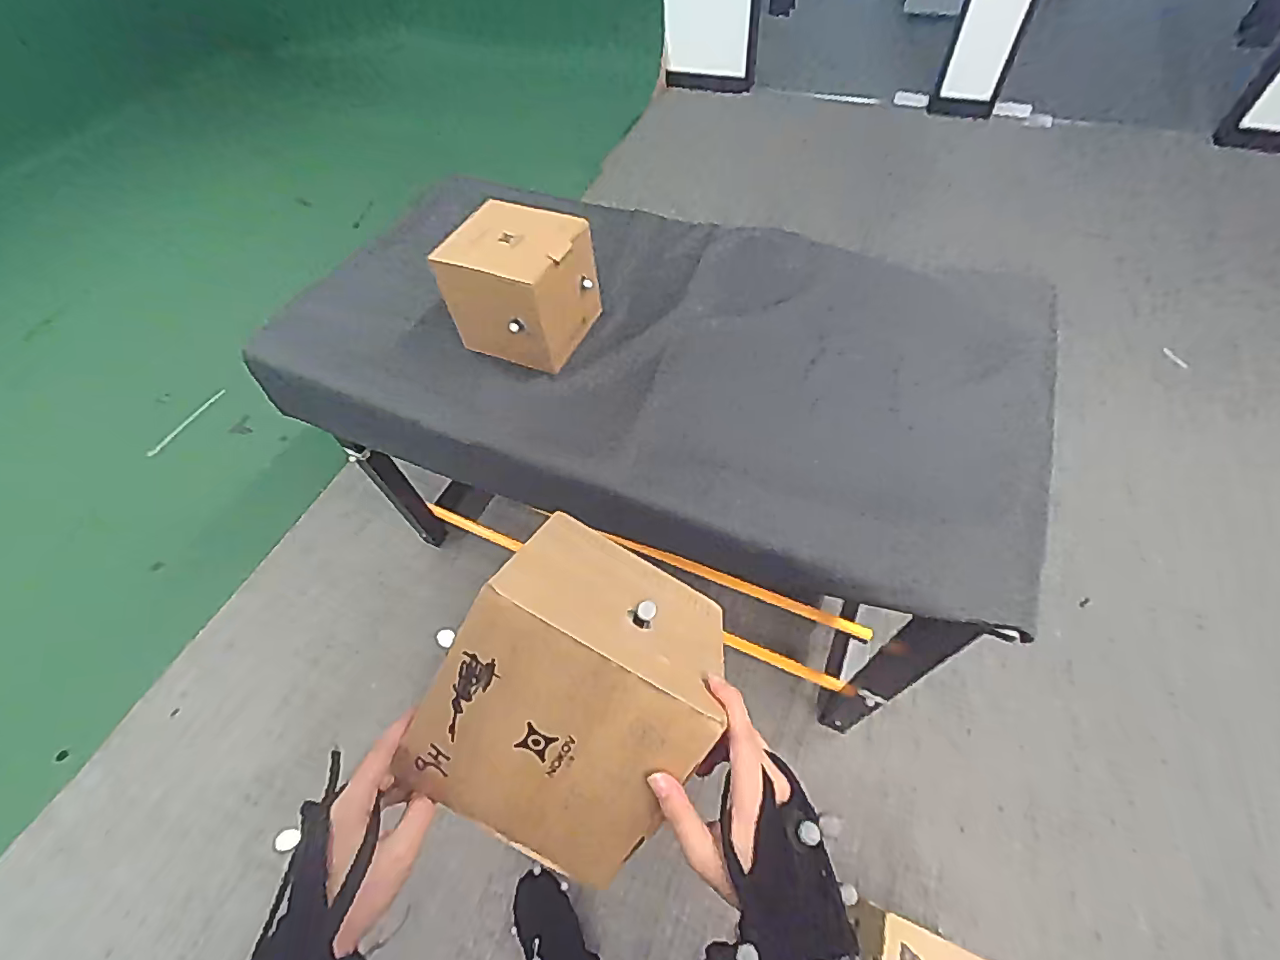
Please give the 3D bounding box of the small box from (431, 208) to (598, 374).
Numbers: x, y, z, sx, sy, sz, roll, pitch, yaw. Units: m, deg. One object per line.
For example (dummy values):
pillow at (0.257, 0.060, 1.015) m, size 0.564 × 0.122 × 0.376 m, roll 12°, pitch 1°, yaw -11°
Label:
small box at (-0.180, -0.290, 0.843) m, size 0.179 × 0.176 × 0.168 m, roll 18°, pitch 57°, yaw 16°

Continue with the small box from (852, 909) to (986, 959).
small box at (0.403, 0.746, 0.769) m, size 0.179 × 0.176 × 0.168 m, roll 18°, pitch 59°, yaw 15°

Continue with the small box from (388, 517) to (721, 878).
small box at (-0.053, 0.151, 0.432) m, size 0.179 × 0.176 × 0.168 m, roll 30°, pitch 105°, yaw -1°

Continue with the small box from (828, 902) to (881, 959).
small box at (0.426, 0.840, 0.902) m, size 0.179 × 0.176 × 0.168 m, roll 20°, pitch 59°, yaw 16°
